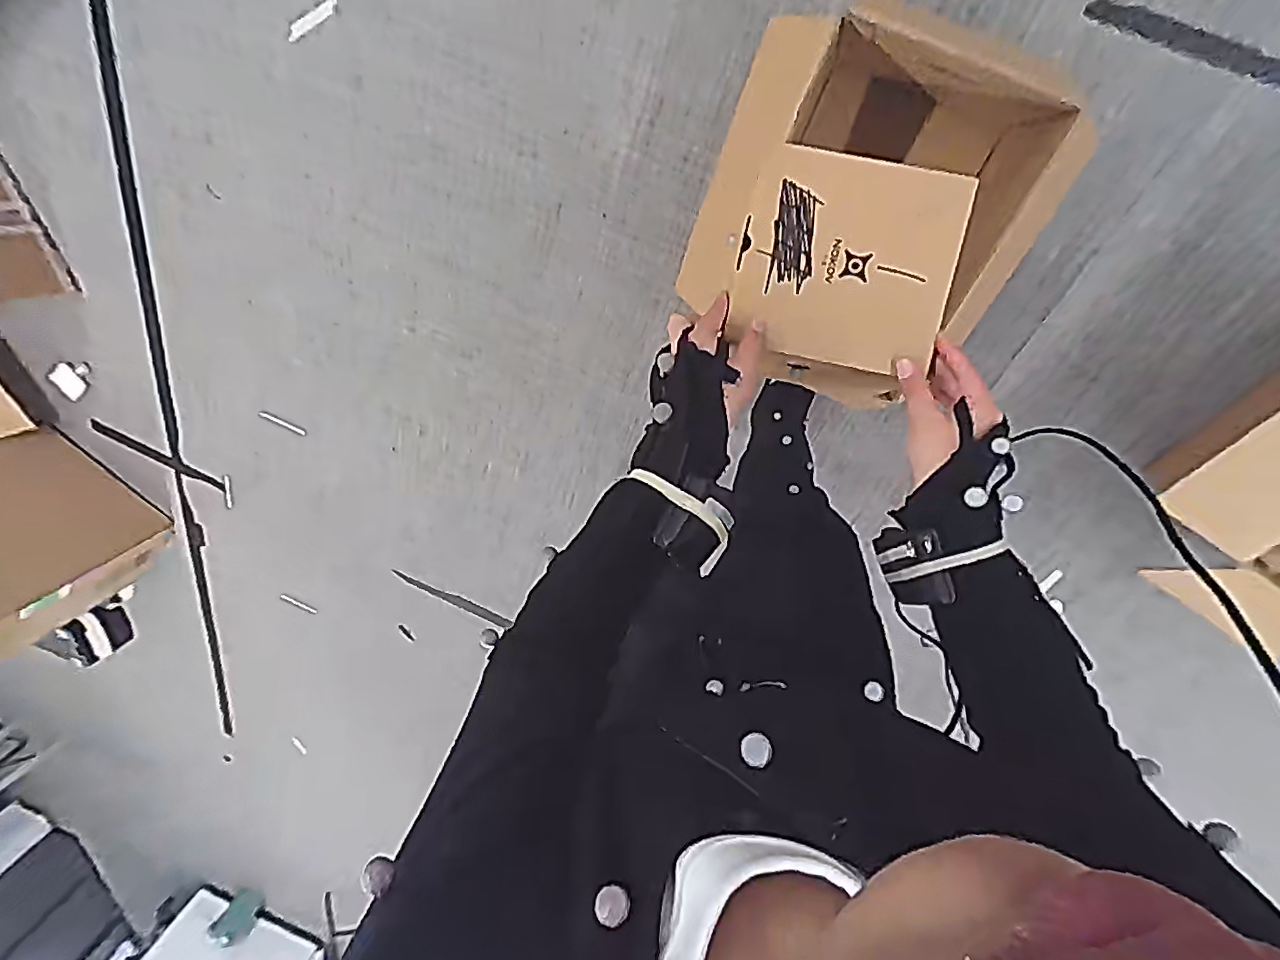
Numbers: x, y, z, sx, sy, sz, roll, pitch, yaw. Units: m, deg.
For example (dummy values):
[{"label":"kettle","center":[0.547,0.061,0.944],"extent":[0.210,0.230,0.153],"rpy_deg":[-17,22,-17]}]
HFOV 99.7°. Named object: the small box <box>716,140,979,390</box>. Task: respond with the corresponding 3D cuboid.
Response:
[{"label":"small box","center":[0.174,-0.186,0.519],"extent":[0.179,0.176,0.168],"rpy_deg":[12,96,4]}]
